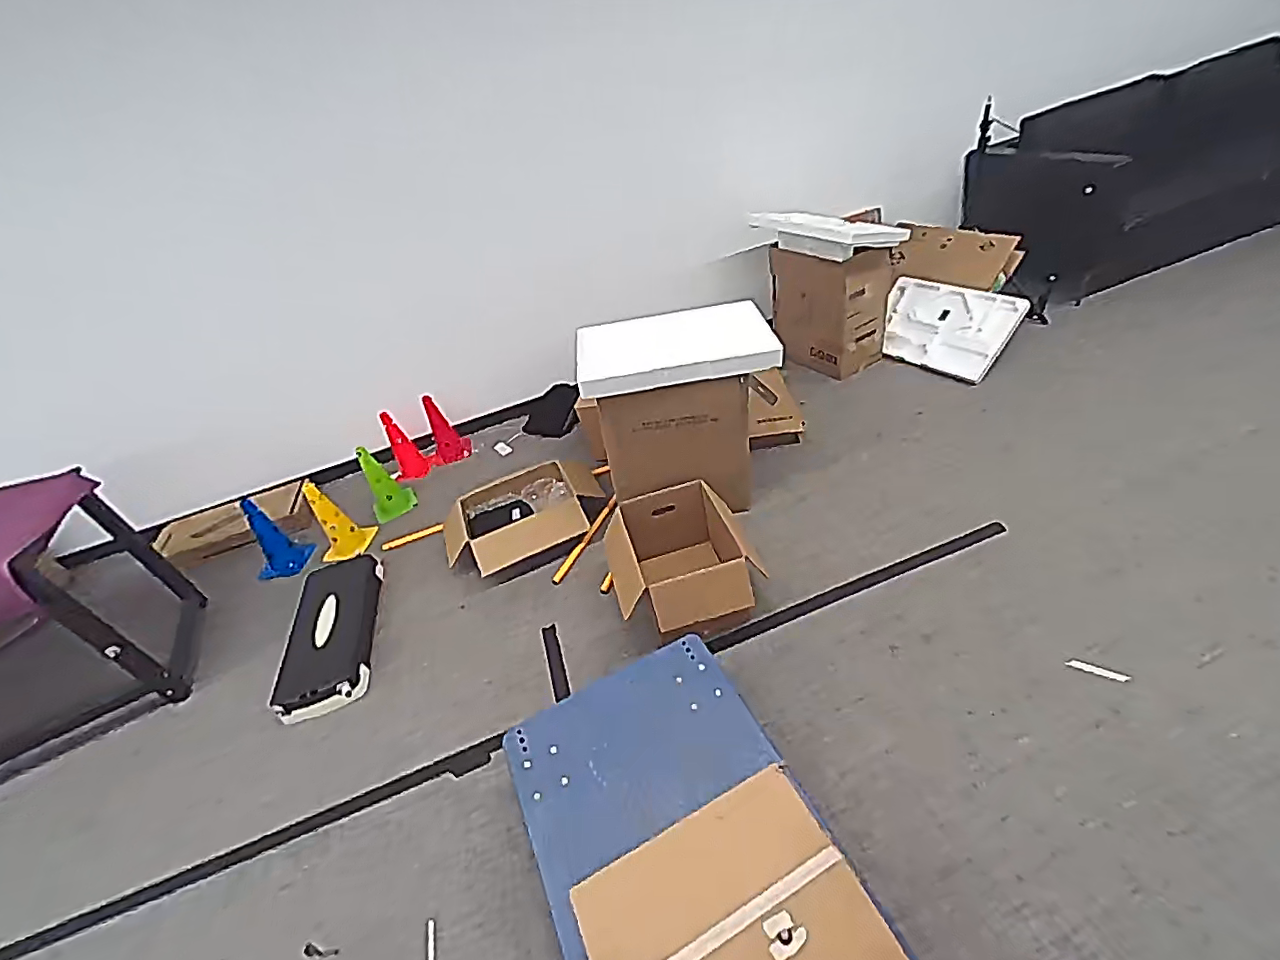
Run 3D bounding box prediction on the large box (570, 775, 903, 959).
[{"bbox_3d":[0.150,0.779,0.872,0.408,0.320,0.320,-23,44,-15],"label":"large box"}]
